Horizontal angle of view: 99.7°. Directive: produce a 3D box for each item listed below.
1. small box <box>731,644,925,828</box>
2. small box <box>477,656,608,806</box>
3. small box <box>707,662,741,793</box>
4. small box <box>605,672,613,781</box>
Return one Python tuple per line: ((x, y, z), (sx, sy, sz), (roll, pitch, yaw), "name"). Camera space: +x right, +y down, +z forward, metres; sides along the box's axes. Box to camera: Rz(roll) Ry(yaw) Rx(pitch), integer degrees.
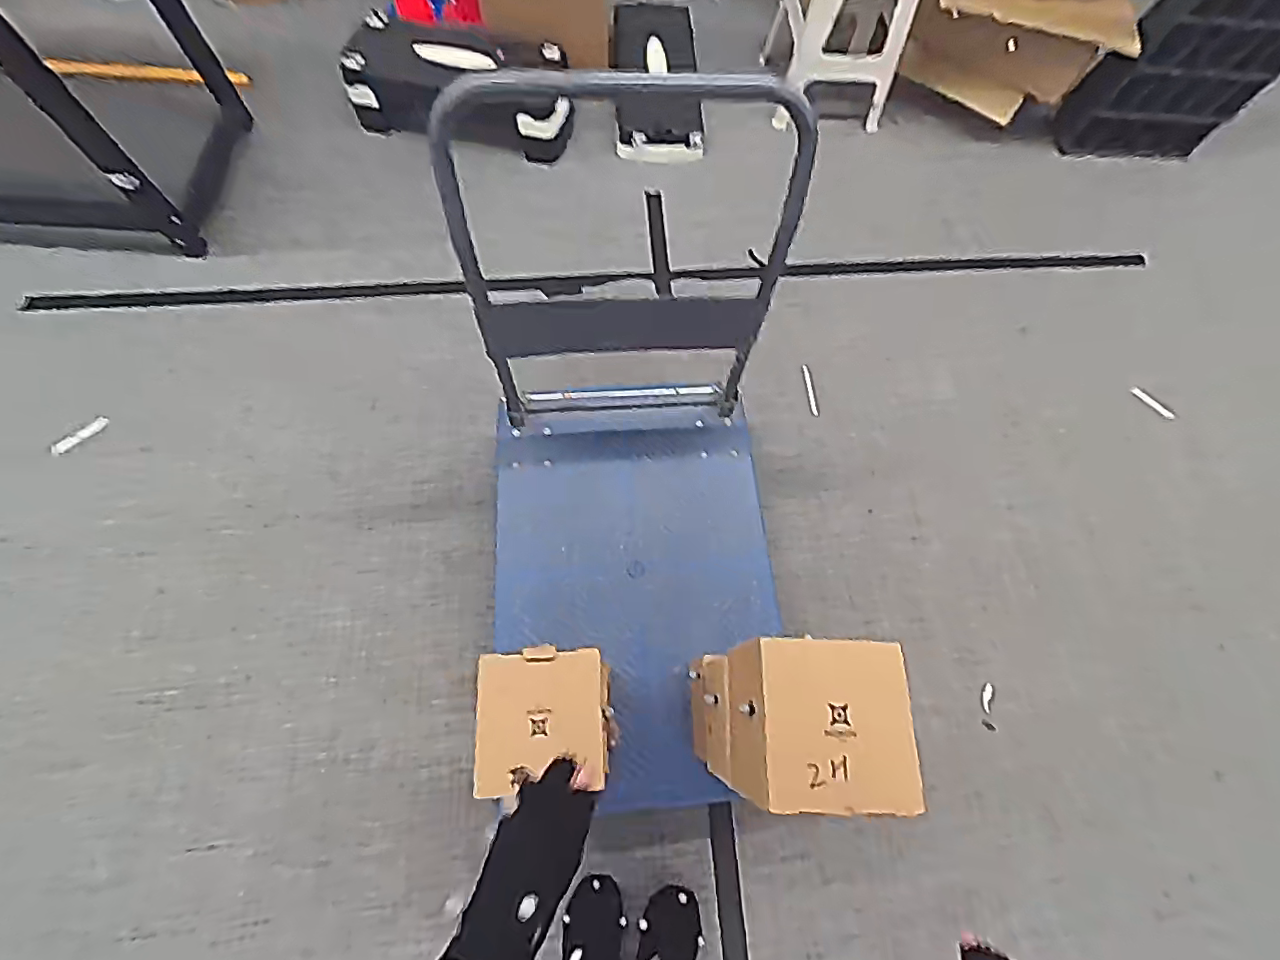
((0.209, 0.301, 0.655), (0.168, 0.176, 0.179), (3, 68, -3), "small box")
((-0.132, 0.358, 0.786), (0.168, 0.176, 0.179), (-2, 68, -4), "small box")
((0.198, 0.365, 0.807), (0.179, 0.176, 0.168), (2, 68, -4), "small box")
((-0.138, 0.420, 0.939), (0.179, 0.176, 0.168), (0, 68, -3), "small box")
